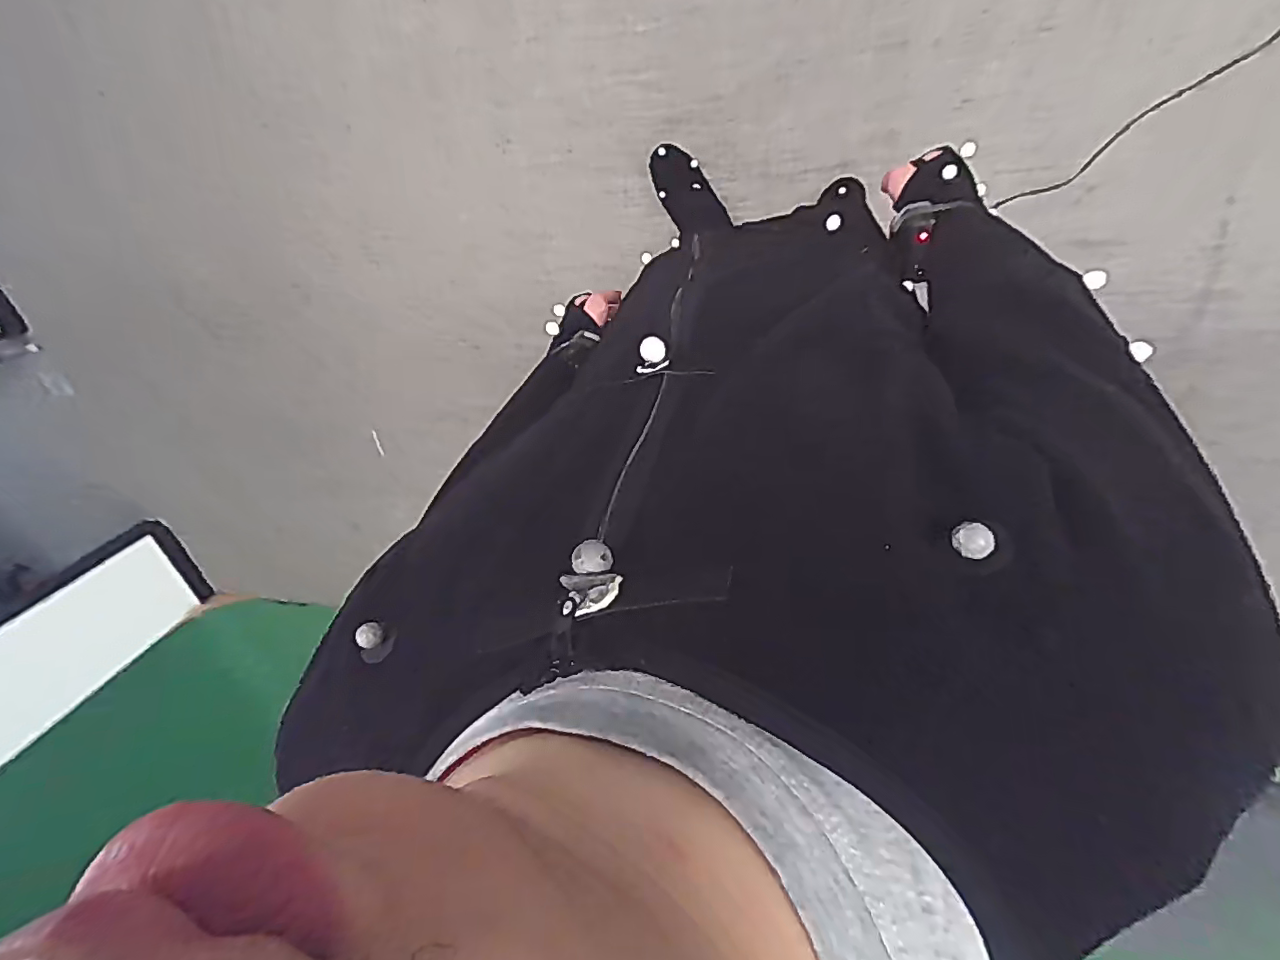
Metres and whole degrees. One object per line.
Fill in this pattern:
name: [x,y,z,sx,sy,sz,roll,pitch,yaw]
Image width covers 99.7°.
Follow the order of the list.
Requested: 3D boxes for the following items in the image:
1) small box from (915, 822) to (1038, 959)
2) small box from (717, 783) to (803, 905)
small box: [0.700,0.864,1.149,0.179,0.176,0.168,2,122,18]
small box: [0.279,0.842,1.262,0.179,0.176,0.168,7,124,12]
